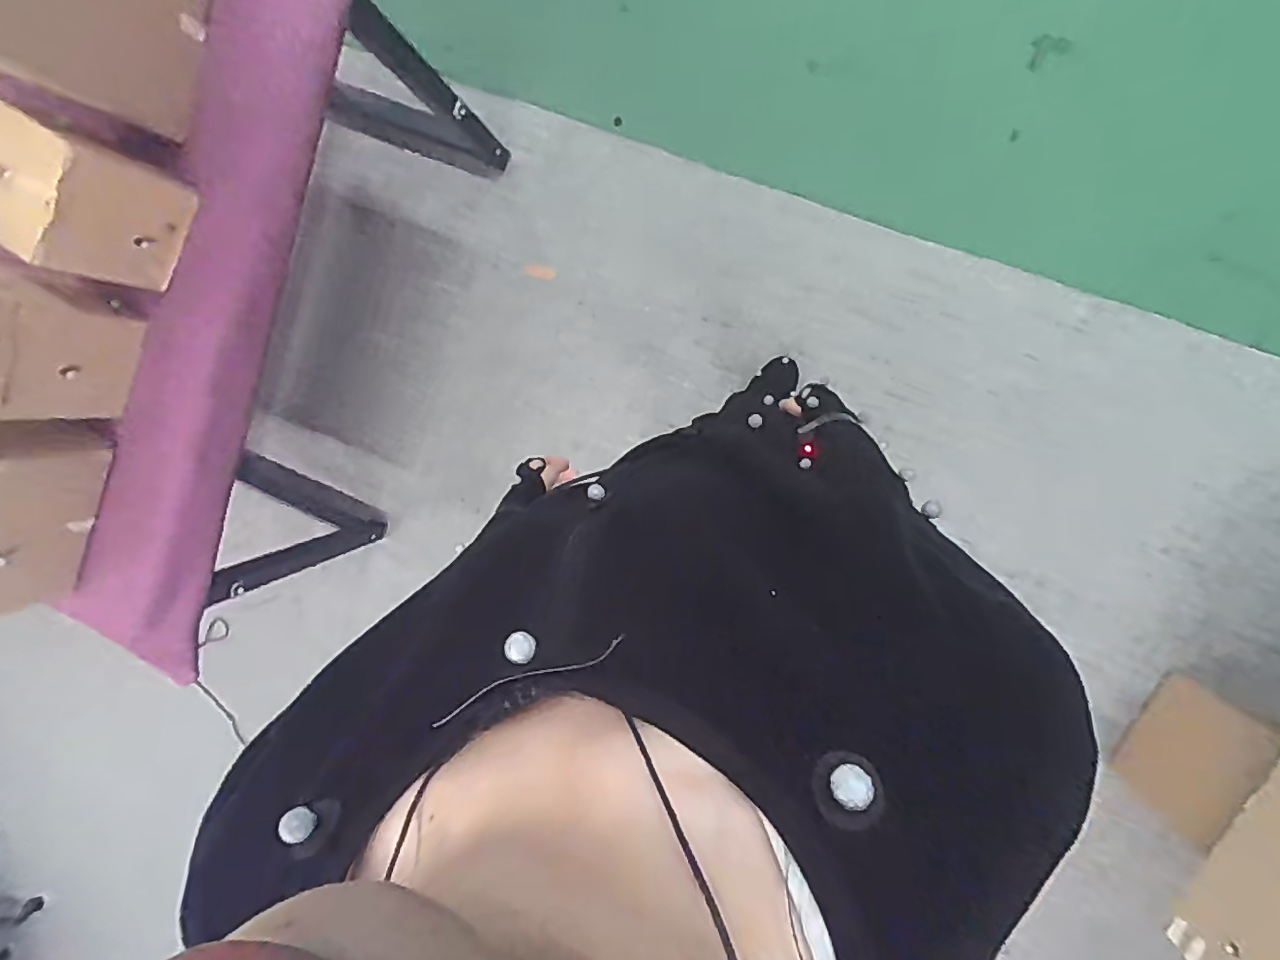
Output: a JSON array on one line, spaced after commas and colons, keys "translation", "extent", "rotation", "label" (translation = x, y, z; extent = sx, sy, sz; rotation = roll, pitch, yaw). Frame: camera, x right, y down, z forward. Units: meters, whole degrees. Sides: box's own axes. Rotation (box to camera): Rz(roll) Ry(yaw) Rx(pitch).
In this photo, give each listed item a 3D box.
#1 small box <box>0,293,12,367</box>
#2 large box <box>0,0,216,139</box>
[{"translation": [-0.941, -0.189, 0.651], "extent": [0.179, 0.176, 0.168], "rotation": [24, 101, 6], "label": "small box"}, {"translation": [-0.837, -0.701, 0.665], "extent": [0.408, 0.320, 0.320], "rotation": [22, 103, 5], "label": "large box"}]
